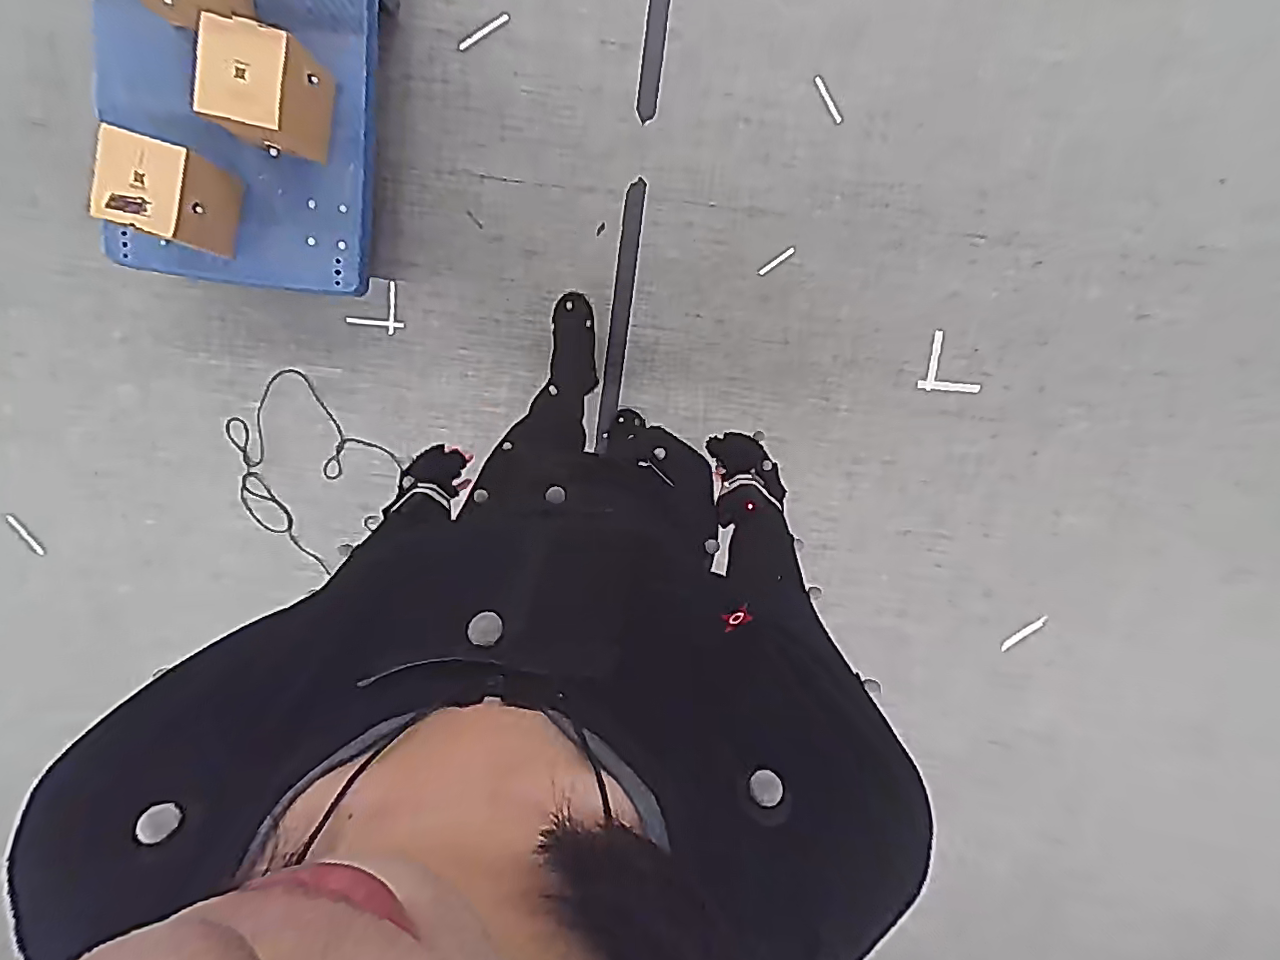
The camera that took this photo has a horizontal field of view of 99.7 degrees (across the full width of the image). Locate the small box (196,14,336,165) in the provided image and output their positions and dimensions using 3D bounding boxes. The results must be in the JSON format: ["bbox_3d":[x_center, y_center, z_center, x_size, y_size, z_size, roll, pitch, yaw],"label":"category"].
[{"bbox_3d":[-0.751,-0.782,1.101,0.168,0.176,0.179,13,101,-1],"label":"small box"}]

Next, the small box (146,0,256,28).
[{"bbox_3d":[-0.897,-1.022,1.056,0.179,0.176,0.168,3,101,0],"label":"small box"}]

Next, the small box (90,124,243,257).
[{"bbox_3d":[-0.977,-0.590,1.129,0.168,0.176,0.179,17,98,-4],"label":"small box"}]
